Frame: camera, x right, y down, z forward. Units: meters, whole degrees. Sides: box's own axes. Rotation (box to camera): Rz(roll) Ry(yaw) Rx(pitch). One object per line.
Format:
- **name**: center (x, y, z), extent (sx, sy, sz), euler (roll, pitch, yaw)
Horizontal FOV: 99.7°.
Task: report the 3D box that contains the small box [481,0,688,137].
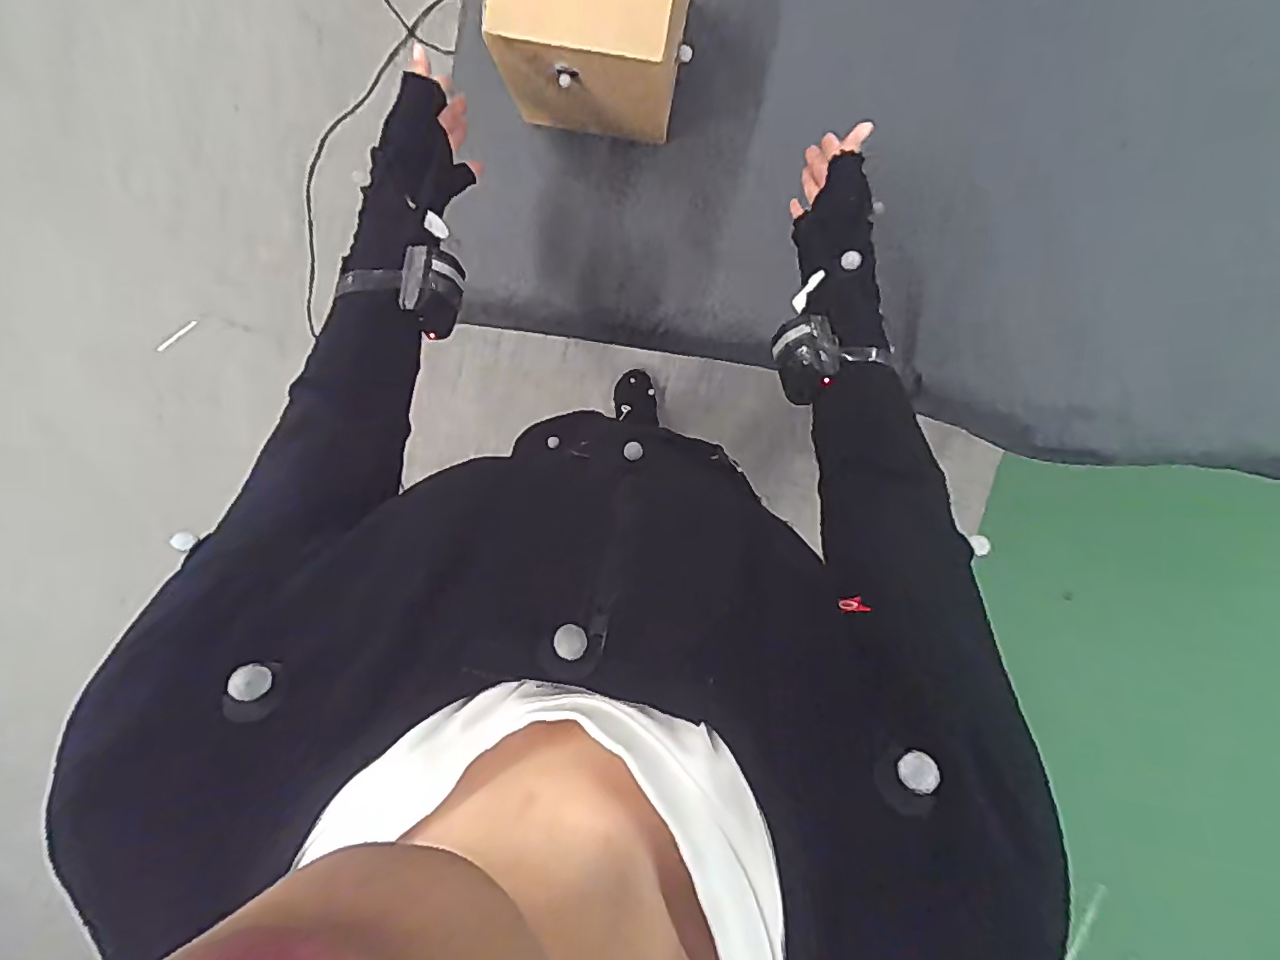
- **small box**: center (-0.046, -0.496, 0.570), extent (0.179, 0.176, 0.168), euler (10, 99, 1)
